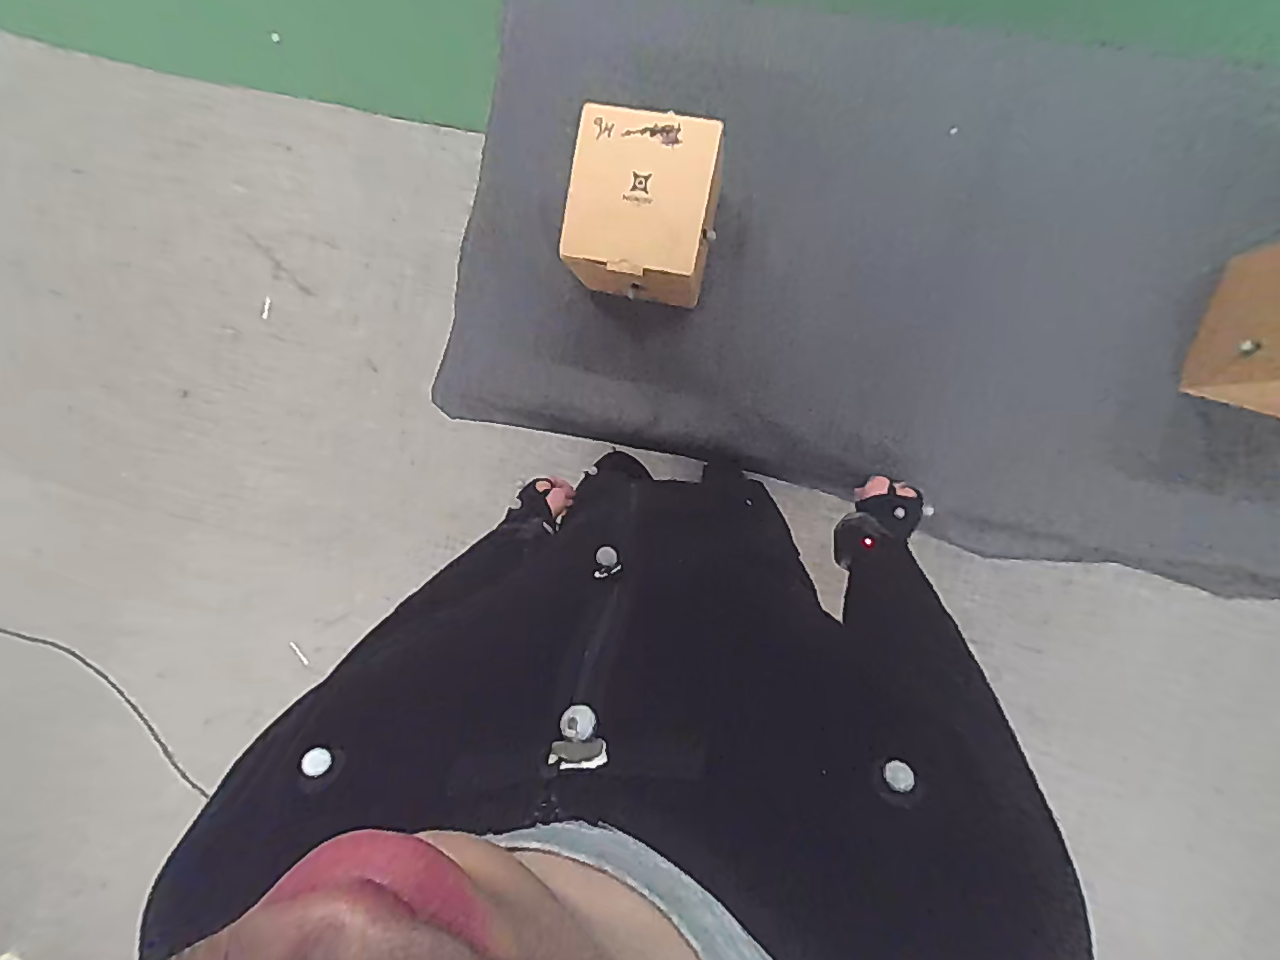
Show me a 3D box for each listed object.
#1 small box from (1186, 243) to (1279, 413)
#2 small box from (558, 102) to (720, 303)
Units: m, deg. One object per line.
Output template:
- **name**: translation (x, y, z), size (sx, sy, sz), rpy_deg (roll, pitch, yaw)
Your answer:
- **small box**: translation (0.791, -0.169, 0.610), size (0.168, 0.176, 0.179), rpy_deg (16, 97, 5)
- **small box**: translation (0.007, -0.342, 0.702), size (0.168, 0.176, 0.179), rpy_deg (12, 97, 6)
